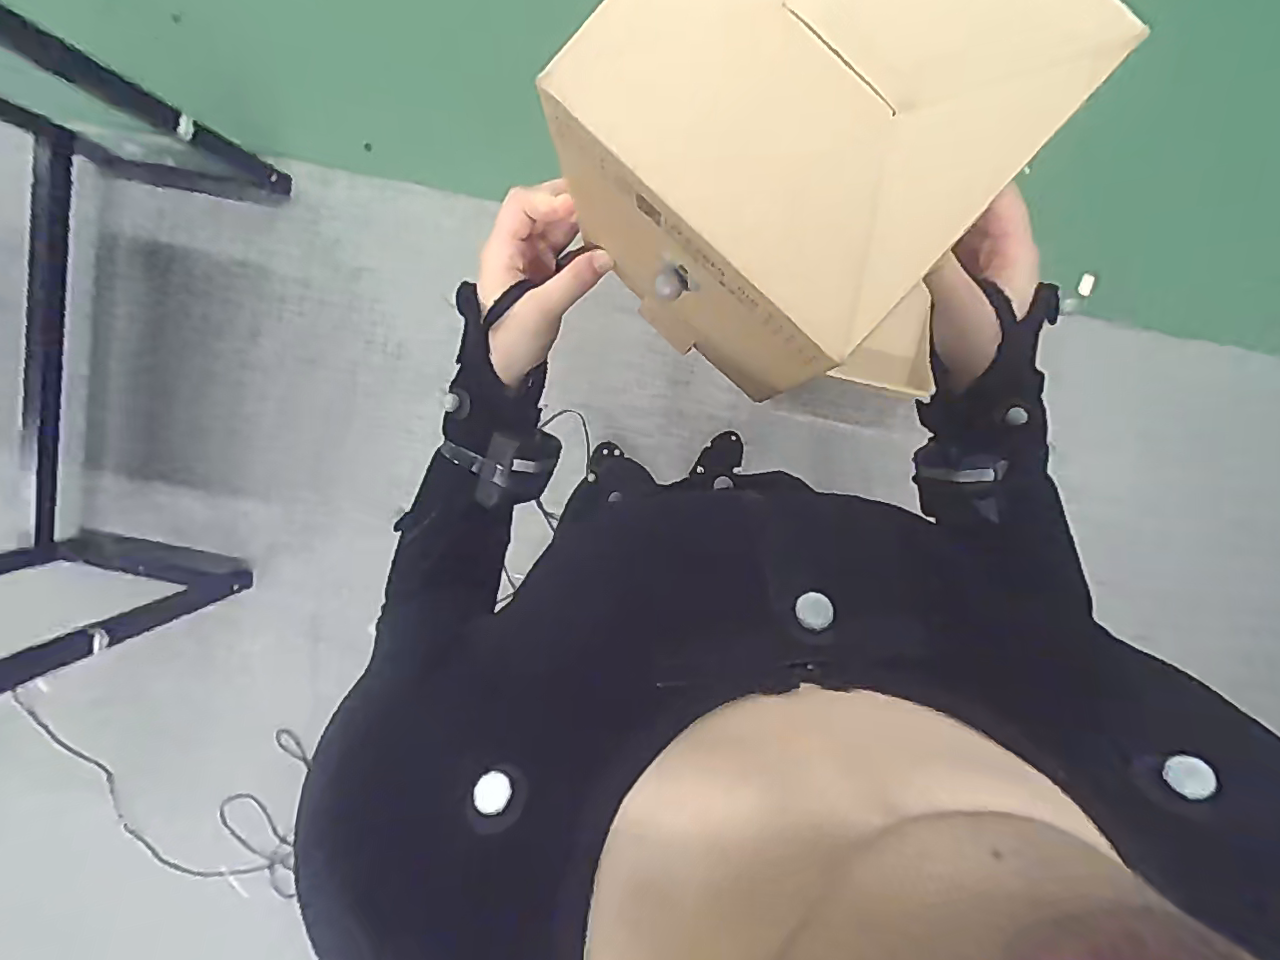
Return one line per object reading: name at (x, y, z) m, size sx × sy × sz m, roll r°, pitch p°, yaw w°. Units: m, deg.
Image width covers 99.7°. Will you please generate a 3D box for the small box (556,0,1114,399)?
small box at (0.080, -0.166, 0.290) m, size 0.168 × 0.176 × 0.179 m, roll 41°, pitch 93°, yaw 0°
